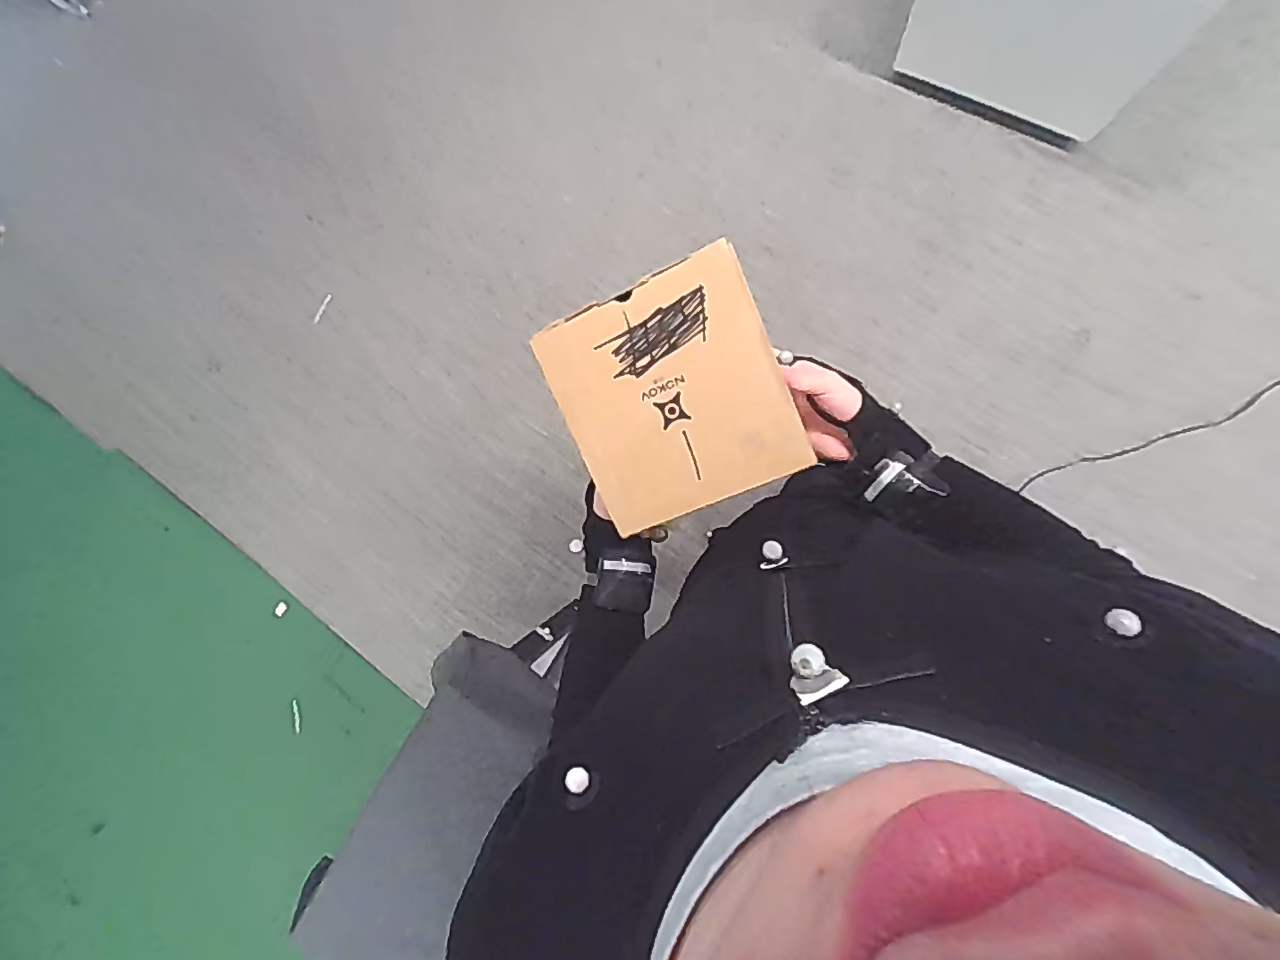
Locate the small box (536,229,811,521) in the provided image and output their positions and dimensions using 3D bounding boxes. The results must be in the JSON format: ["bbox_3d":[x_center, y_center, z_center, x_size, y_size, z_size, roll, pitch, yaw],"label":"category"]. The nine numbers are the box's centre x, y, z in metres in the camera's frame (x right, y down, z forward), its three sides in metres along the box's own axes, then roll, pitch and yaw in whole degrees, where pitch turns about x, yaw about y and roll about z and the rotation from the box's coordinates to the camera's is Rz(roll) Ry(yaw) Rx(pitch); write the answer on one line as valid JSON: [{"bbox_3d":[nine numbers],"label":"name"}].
[{"bbox_3d":[0.037,-0.088,0.485,0.168,0.176,0.179,-21,98,15],"label":"small box"}]
